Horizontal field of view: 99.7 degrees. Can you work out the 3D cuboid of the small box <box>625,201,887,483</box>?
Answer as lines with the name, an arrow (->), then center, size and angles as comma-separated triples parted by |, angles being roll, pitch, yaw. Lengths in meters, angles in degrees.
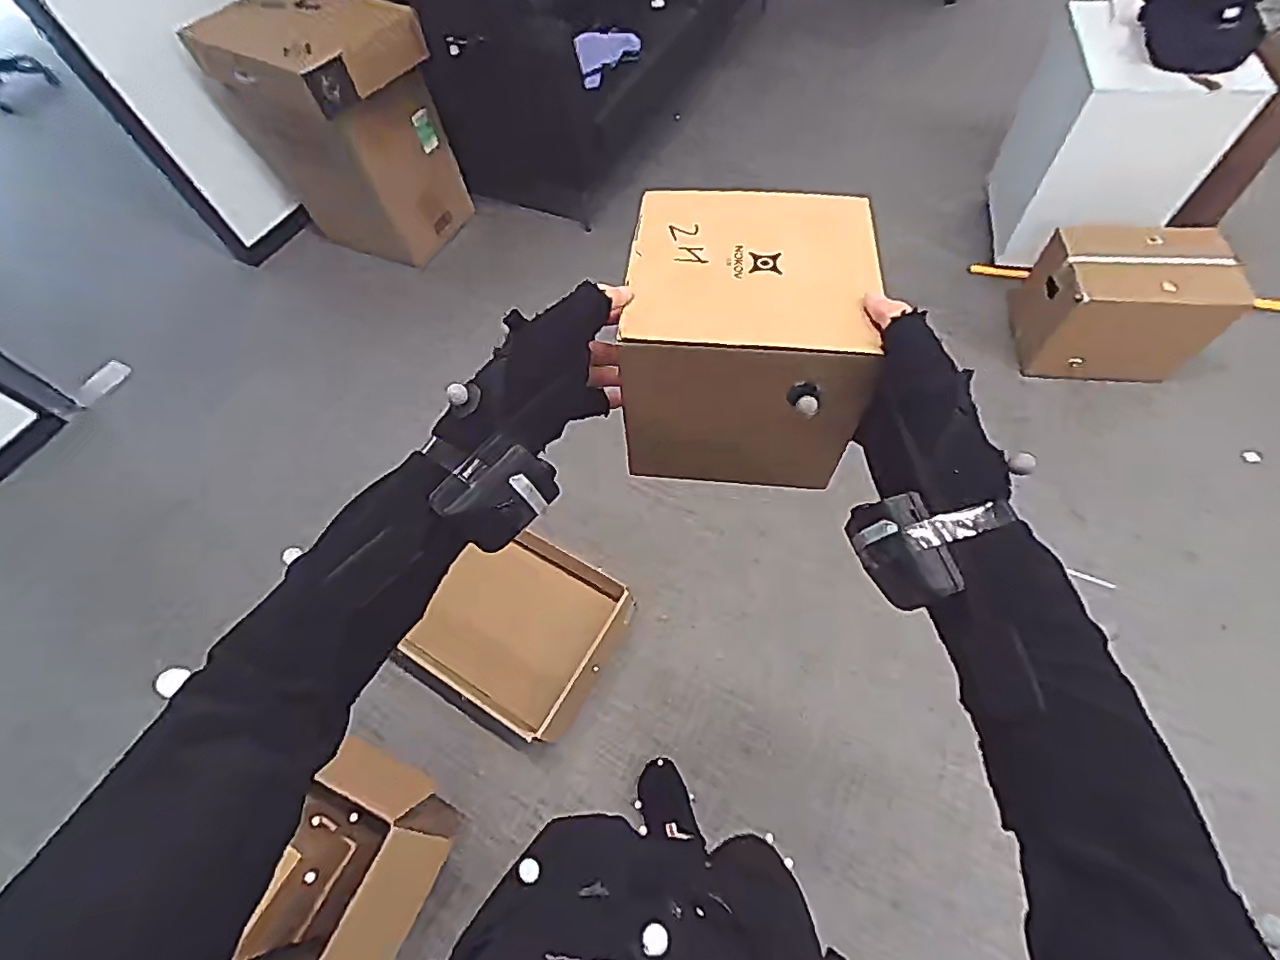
small box -> 0.086, -0.110, 0.466 | 0.179, 0.176, 0.168 | 4, 58, 5
